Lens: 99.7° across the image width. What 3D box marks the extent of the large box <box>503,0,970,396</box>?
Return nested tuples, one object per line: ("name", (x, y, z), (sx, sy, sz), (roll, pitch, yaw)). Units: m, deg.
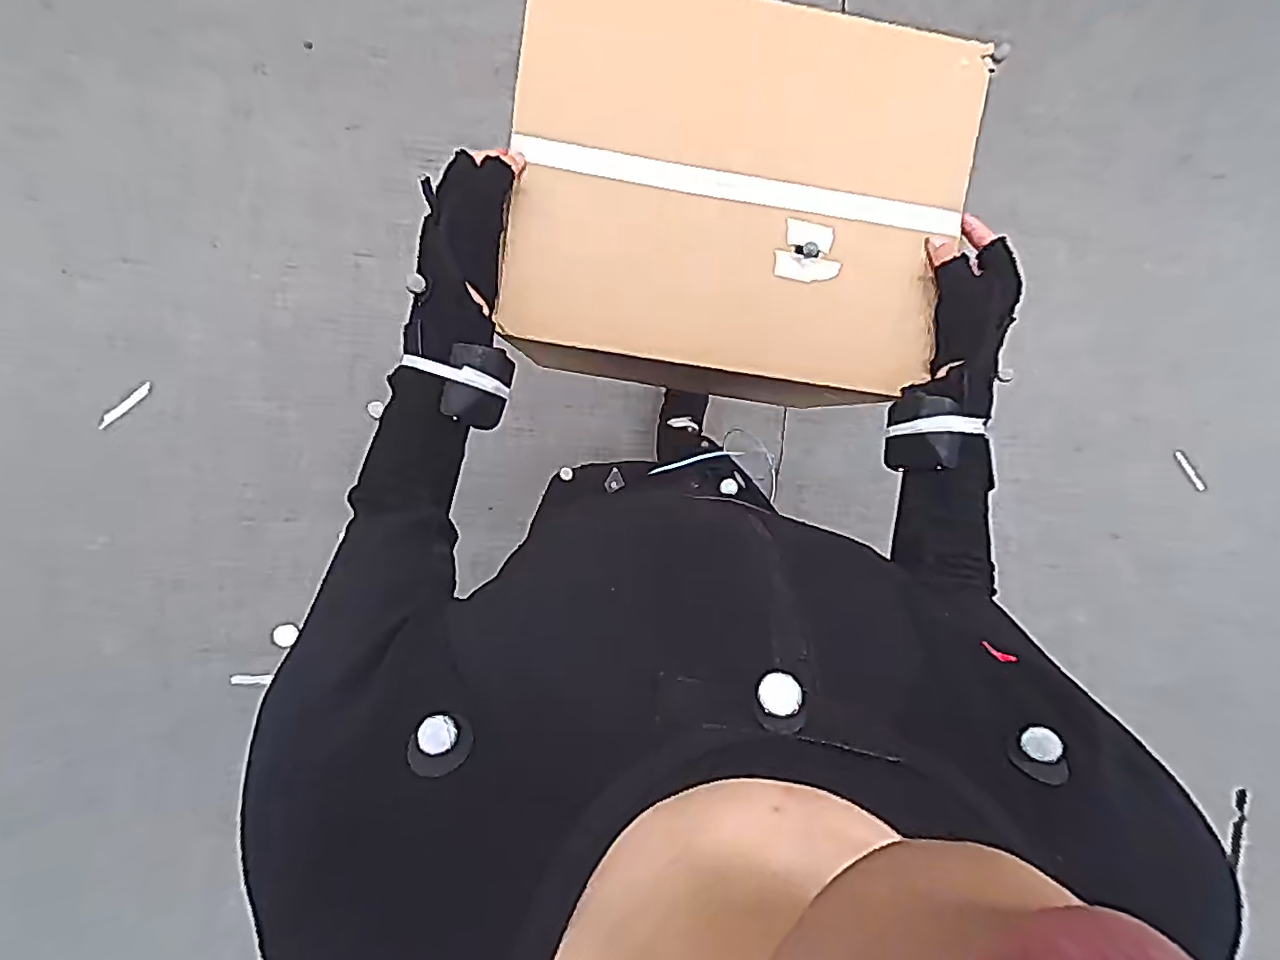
("large box", (0.077, -0.285, 0.641), (0.408, 0.320, 0.320), (8, 97, -5))
